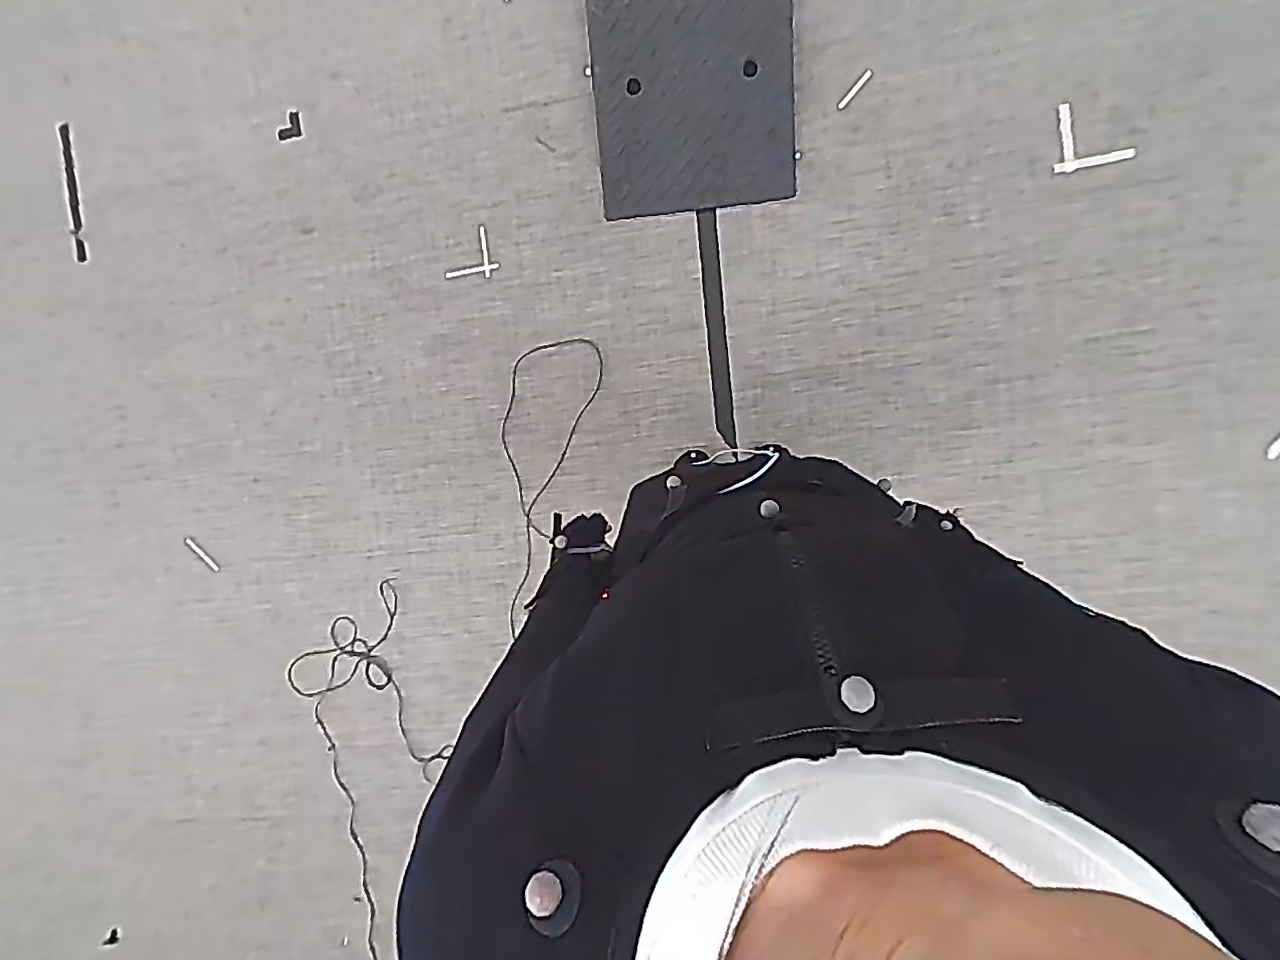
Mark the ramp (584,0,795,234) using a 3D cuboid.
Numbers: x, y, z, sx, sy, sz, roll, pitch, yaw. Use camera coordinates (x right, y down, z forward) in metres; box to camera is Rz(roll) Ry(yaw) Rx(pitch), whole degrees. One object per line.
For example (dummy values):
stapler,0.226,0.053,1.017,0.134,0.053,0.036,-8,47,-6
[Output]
ramp,0.106,-1.163,1.315,0.509,0.206,0.991,-7,93,7
